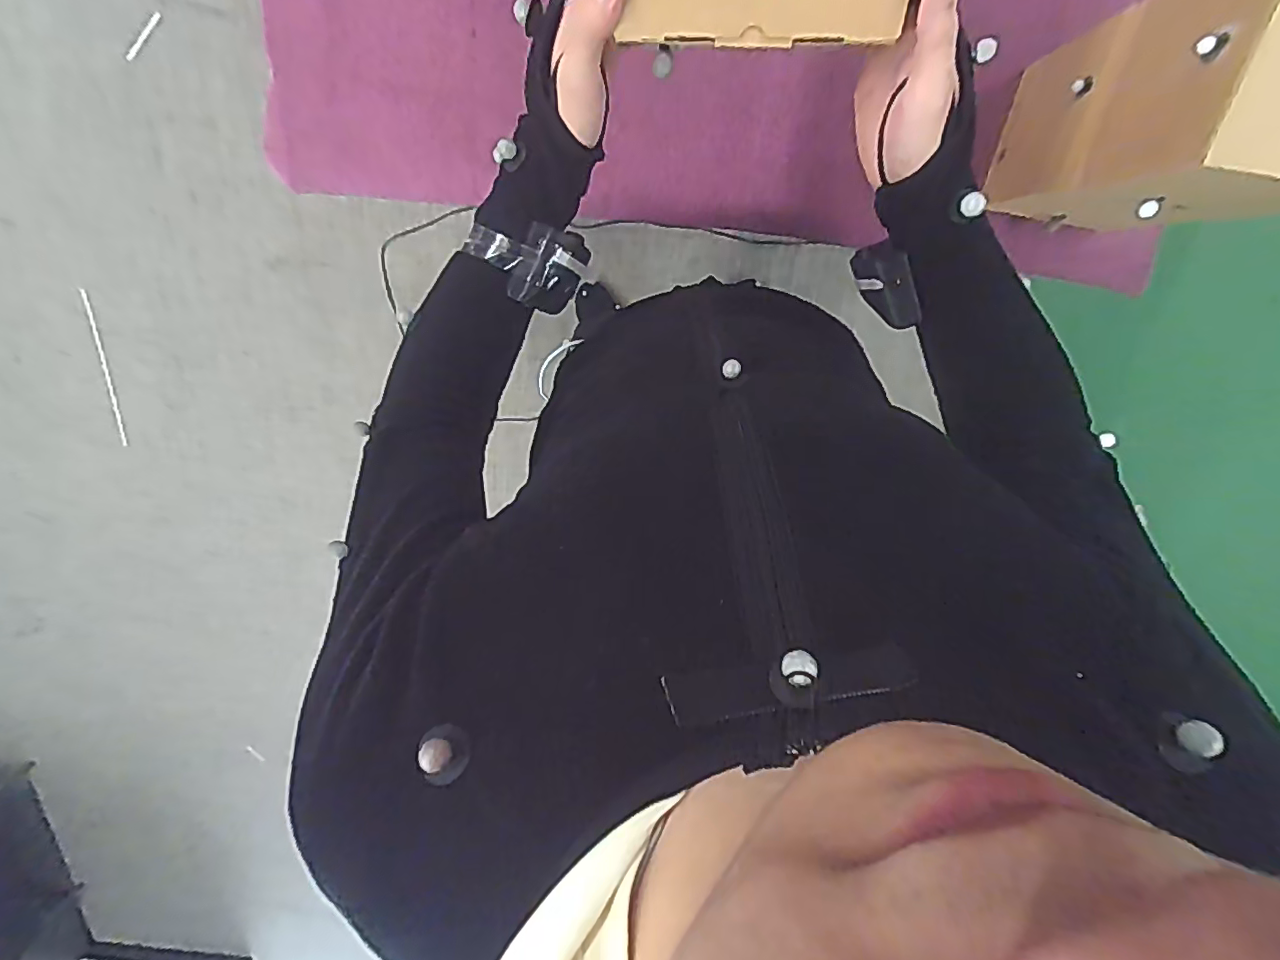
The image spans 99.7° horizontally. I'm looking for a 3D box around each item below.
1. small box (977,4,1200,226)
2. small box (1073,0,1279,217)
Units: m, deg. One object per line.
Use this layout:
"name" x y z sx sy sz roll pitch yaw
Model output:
"small box" 0.549 -0.404 0.633 0.179 0.176 0.168 10 110 -2
"small box" 0.544 -0.349 0.480 0.168 0.176 0.179 11 111 1
